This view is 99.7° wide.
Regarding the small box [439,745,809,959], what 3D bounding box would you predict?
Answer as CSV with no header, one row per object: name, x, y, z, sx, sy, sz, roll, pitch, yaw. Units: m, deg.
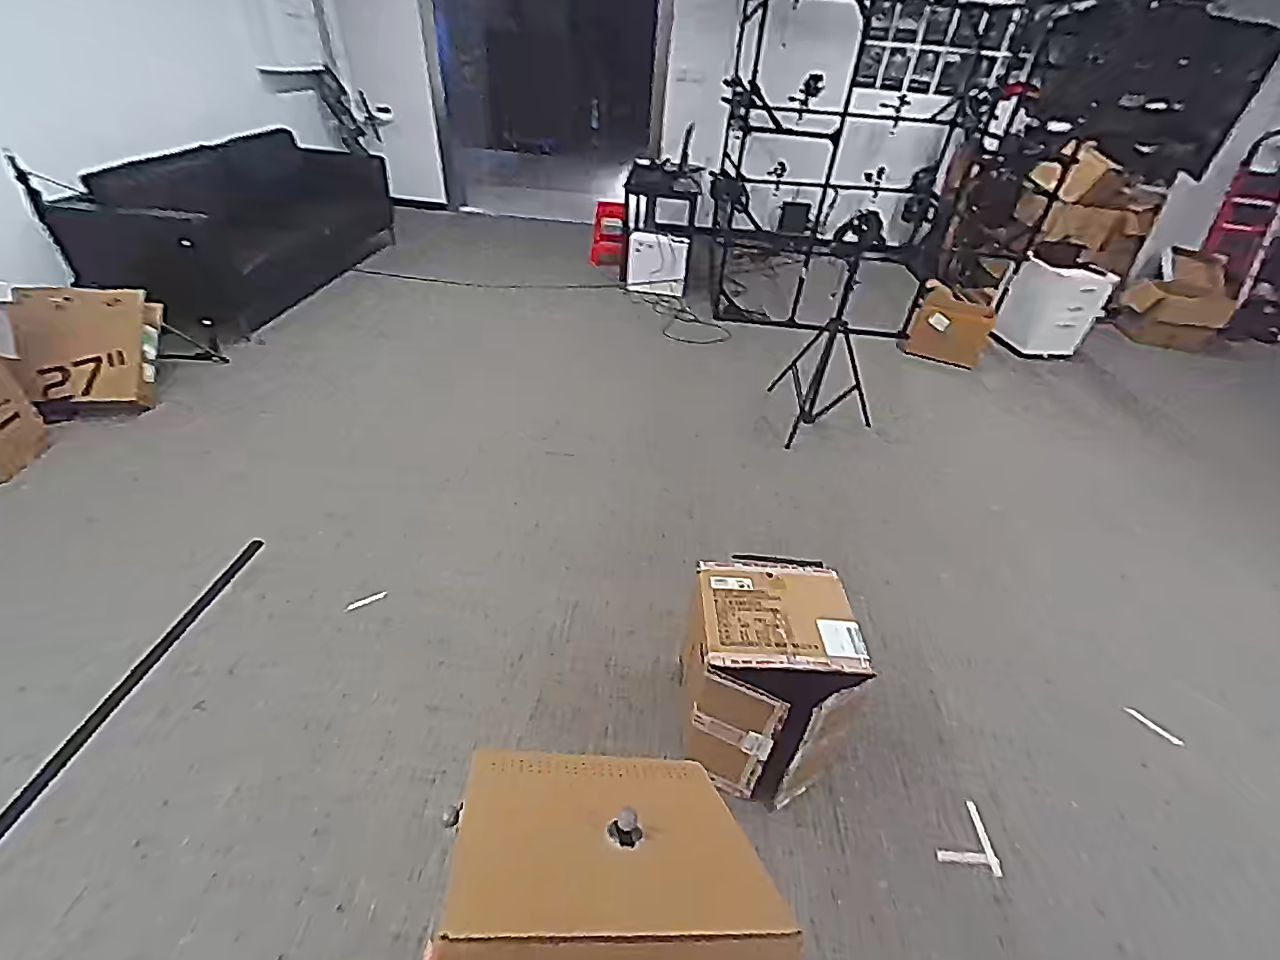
small box,-0.029,0.282,0.326,0.179,0.168,0.176,10,-1,-13
